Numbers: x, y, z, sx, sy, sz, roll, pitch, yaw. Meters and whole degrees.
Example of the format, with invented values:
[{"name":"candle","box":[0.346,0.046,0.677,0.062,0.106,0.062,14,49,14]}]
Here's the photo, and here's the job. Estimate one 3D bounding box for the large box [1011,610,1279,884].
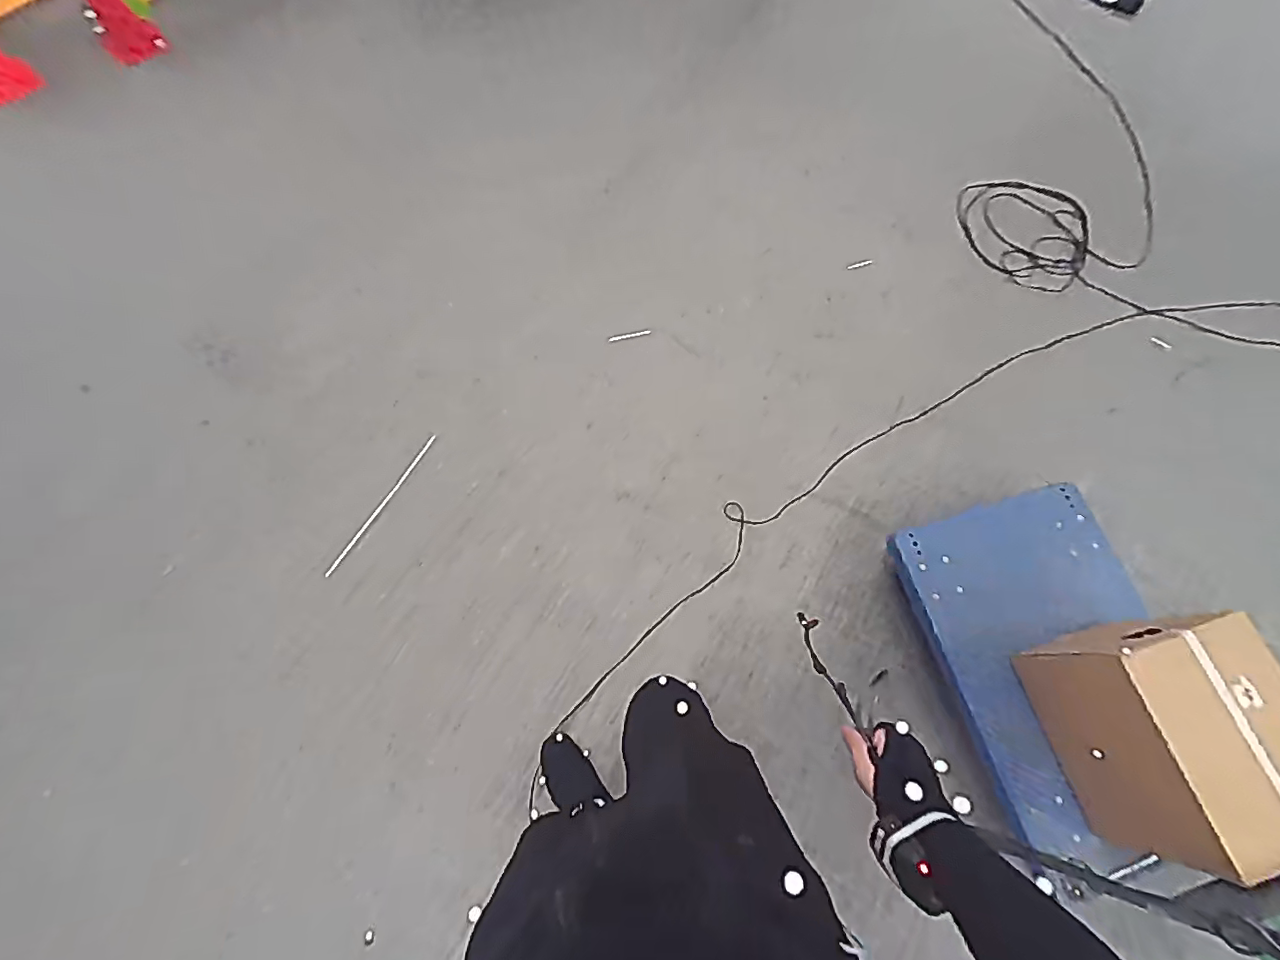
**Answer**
[{"name":"large box","box":[1.113,0.529,1.148,0.320,0.320,0.408,-15,72,-9]}]
